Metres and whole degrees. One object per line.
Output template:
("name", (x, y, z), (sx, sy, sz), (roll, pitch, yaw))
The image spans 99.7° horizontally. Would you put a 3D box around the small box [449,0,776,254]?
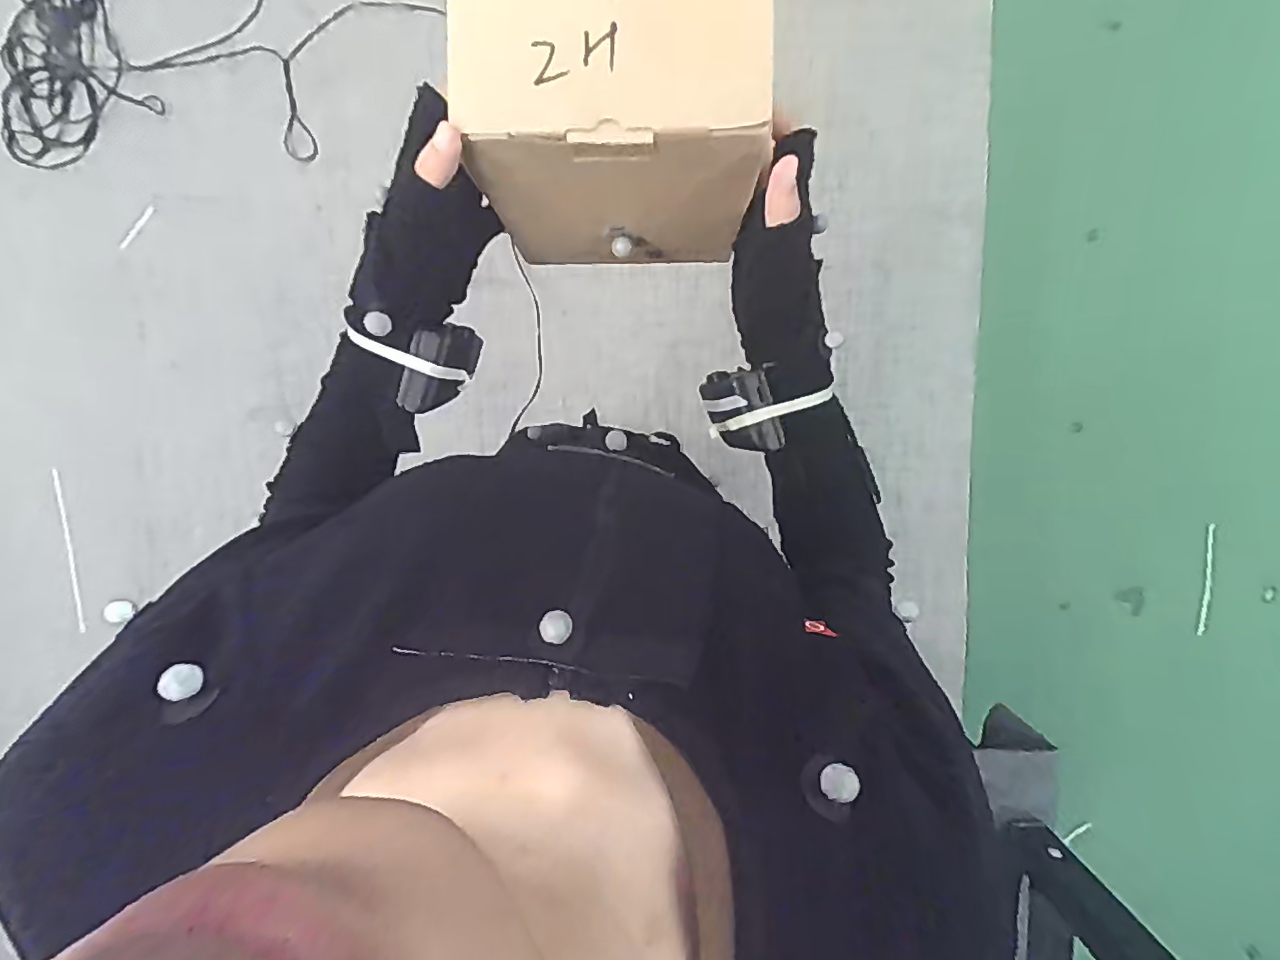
("small box", (-0.011, -0.269, 0.351), (0.168, 0.176, 0.179), (0, 90, 2))
